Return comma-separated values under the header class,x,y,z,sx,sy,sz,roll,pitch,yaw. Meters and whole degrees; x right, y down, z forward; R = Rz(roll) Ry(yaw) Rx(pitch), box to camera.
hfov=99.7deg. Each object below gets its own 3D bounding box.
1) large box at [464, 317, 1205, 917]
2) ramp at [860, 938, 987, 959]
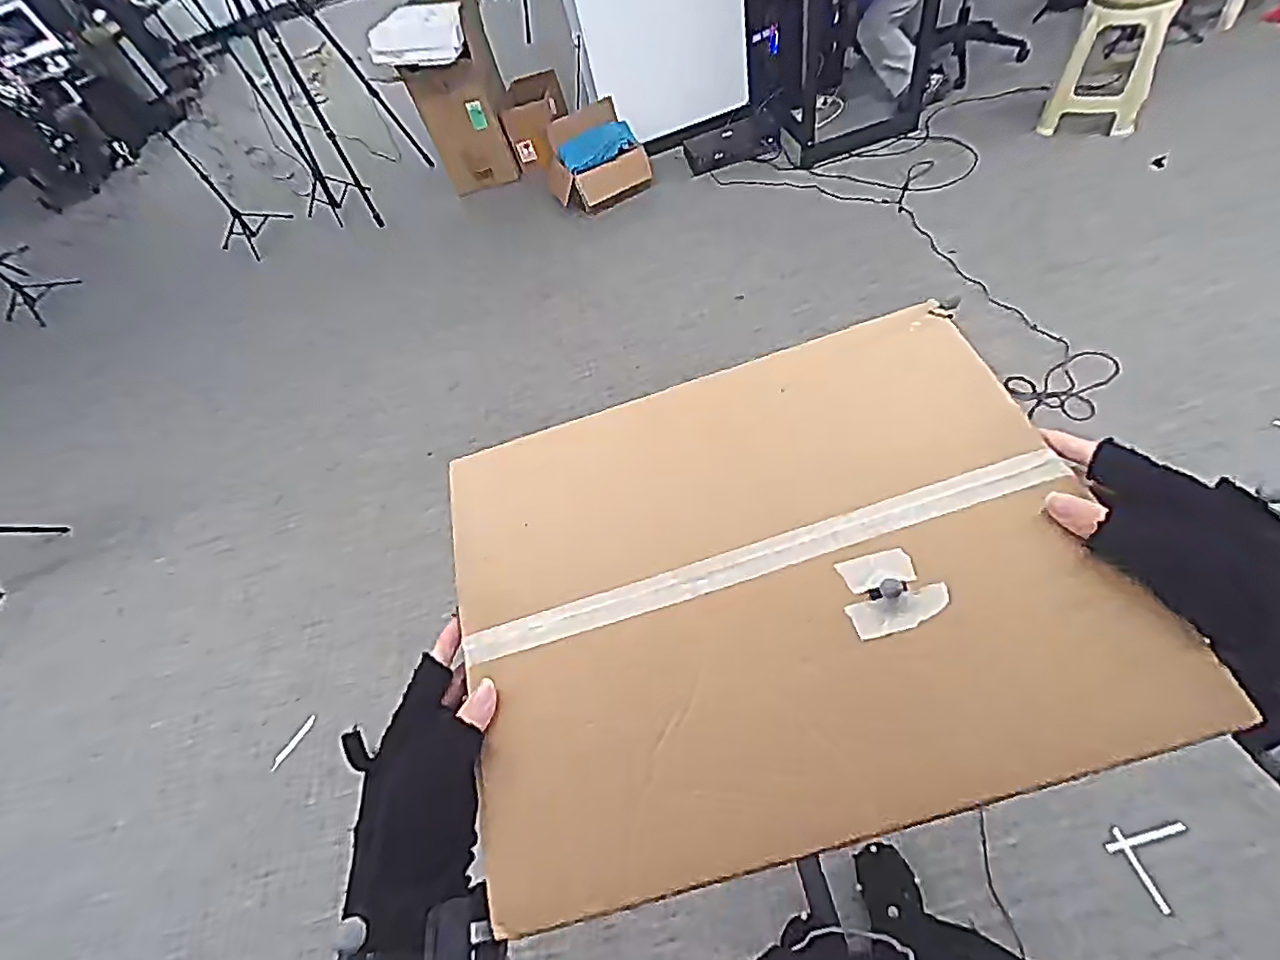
class,x,y,z,sx,sy,sz,roll,pitch,yaw
large box,0.106,0.125,0.497,0.408,0.320,0.320,-18,61,2
ramp,0.472,1.272,0.690,0.509,0.206,0.991,-17,52,5
